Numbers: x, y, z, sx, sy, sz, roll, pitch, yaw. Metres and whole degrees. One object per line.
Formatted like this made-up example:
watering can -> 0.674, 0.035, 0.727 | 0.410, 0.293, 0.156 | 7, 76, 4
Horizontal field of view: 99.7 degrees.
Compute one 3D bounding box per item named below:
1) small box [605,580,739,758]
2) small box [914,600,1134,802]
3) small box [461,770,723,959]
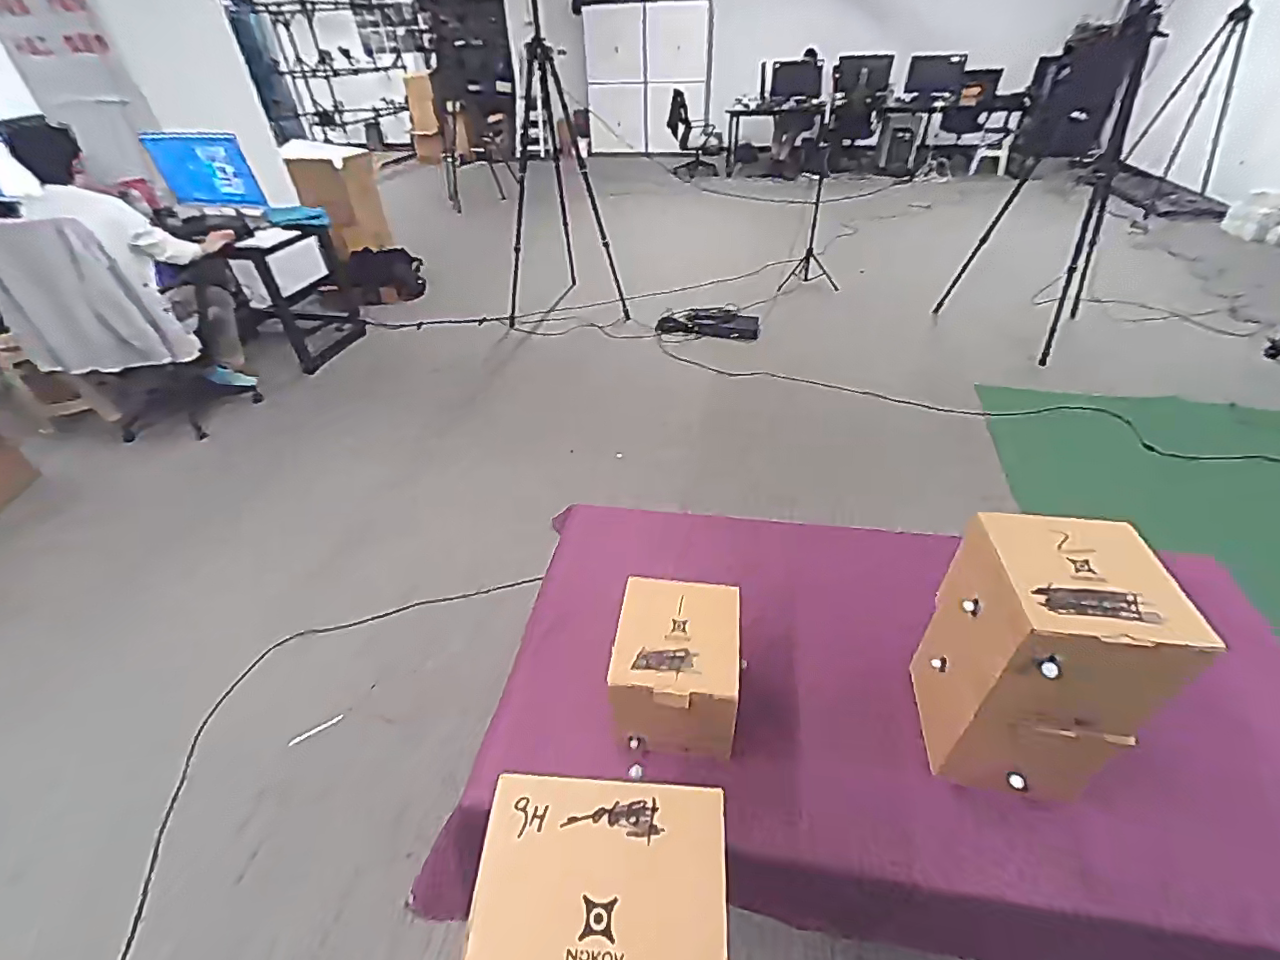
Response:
small box -> 0.053, 0.270, 0.774 | 0.168, 0.176, 0.179 | 4, 39, 8
small box -> 0.483, 0.290, 0.719 | 0.168, 0.176, 0.179 | 5, 40, 11
small box -> -0.025, 0.333, 0.405 | 0.168, 0.176, 0.179 | 2, 53, 4
